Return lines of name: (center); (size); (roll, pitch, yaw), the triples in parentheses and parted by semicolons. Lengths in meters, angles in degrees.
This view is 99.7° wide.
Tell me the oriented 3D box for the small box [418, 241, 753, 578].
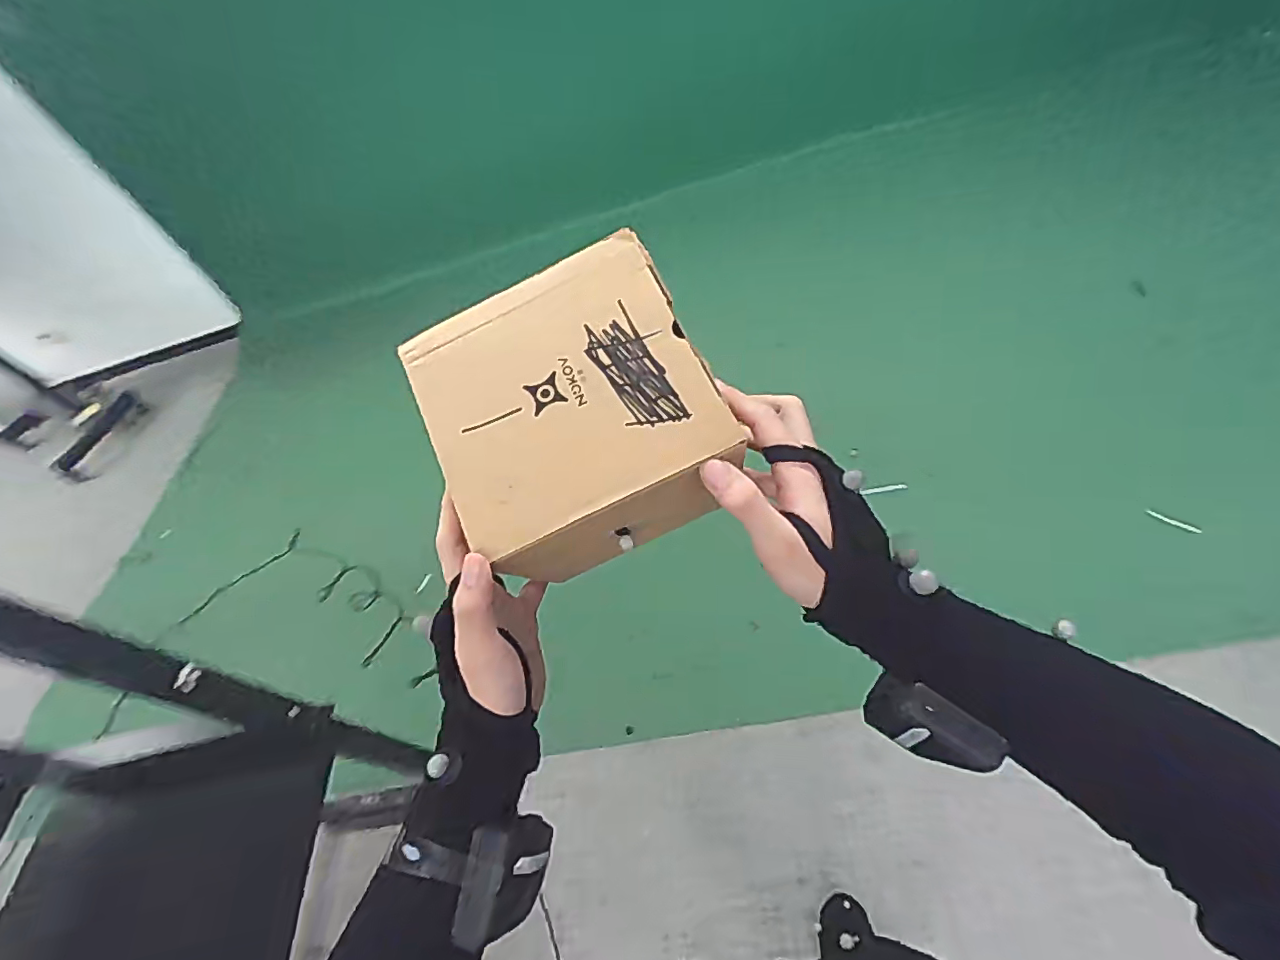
small box: (-0.029, -0.035, 0.416); (0.179, 0.176, 0.168); (-25, 73, 4)
